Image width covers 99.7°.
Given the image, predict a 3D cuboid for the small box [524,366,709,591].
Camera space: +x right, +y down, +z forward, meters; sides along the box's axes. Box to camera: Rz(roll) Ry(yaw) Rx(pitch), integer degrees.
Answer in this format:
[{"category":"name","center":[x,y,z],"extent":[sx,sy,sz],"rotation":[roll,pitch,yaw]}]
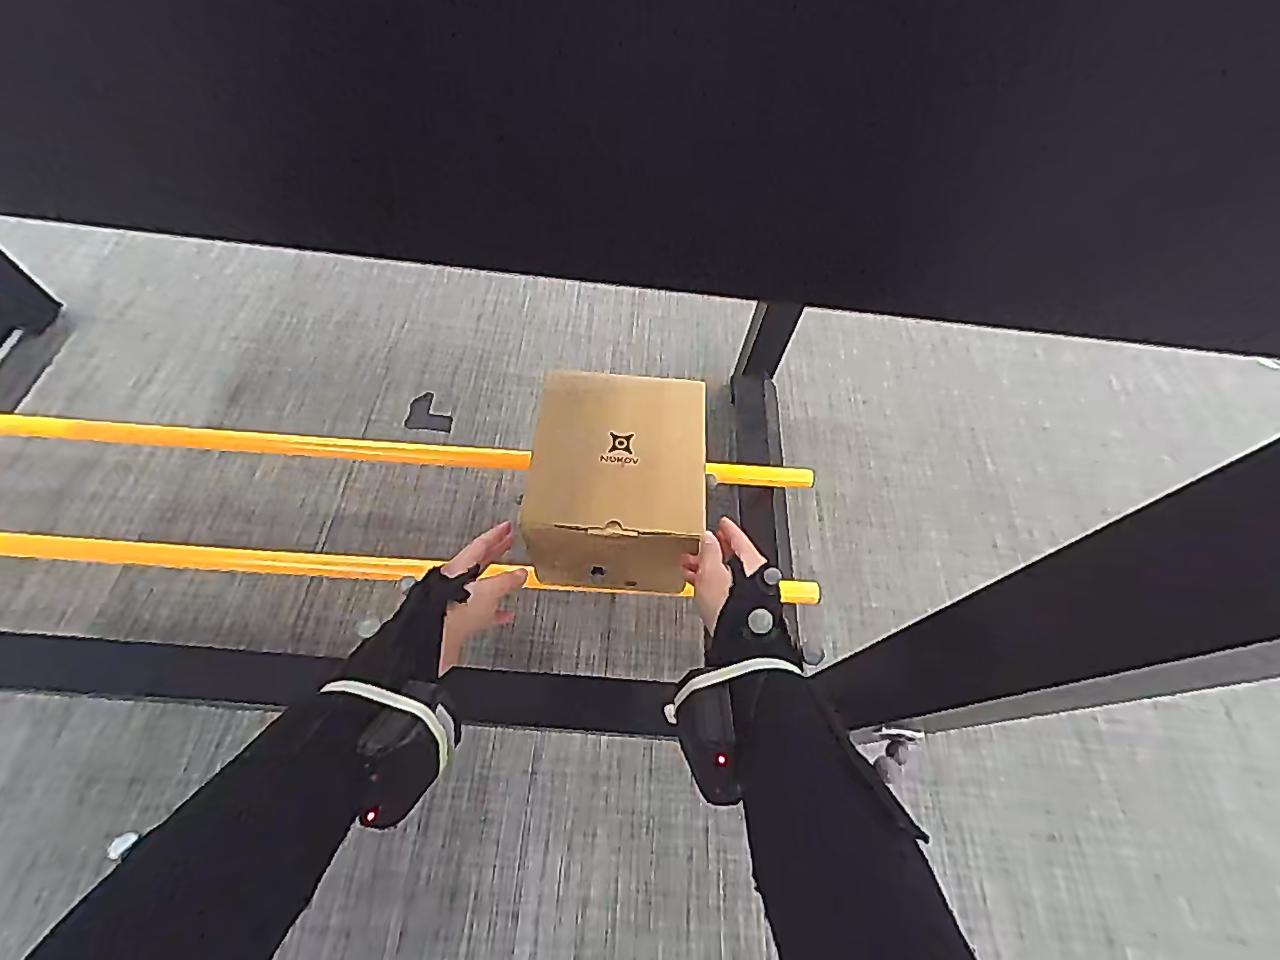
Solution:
[{"category":"small box","center":[-0.022,0.005,0.580],"extent":[0.168,0.176,0.179],"rotation":[4,62,-2]}]
